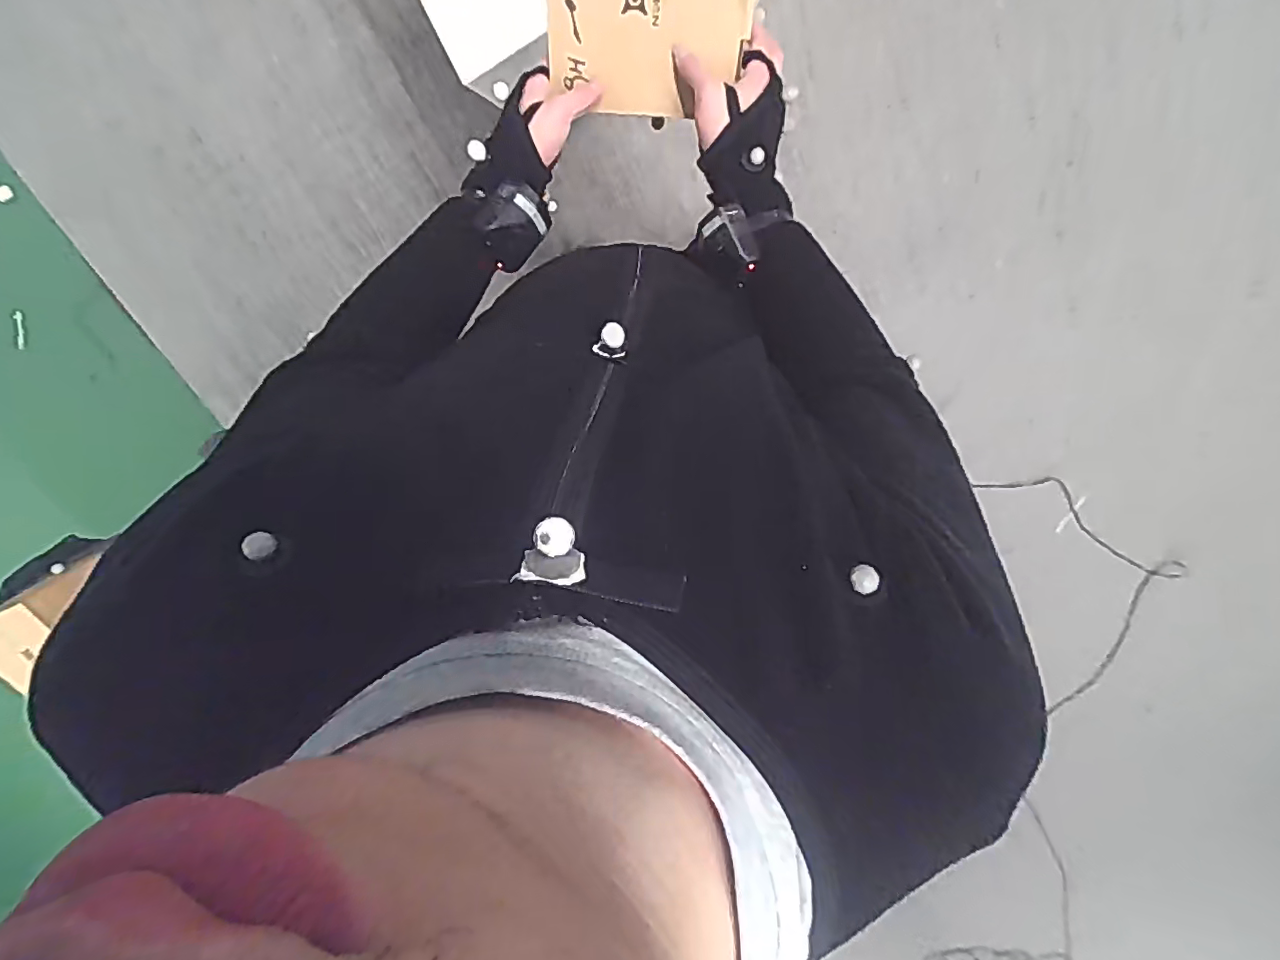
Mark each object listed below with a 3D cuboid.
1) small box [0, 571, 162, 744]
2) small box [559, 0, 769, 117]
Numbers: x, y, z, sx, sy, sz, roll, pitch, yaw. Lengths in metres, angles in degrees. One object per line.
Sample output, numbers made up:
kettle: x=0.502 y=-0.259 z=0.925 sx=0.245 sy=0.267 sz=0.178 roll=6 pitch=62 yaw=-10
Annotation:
small box: x=-0.944 y=0.279 z=0.868 sx=0.168 sy=0.176 sz=0.179 roll=-22 pitch=112 yaw=10
small box: x=0.026 y=-0.447 z=0.504 sx=0.179 sy=0.176 sz=0.168 roll=6 pitch=126 yaw=3
